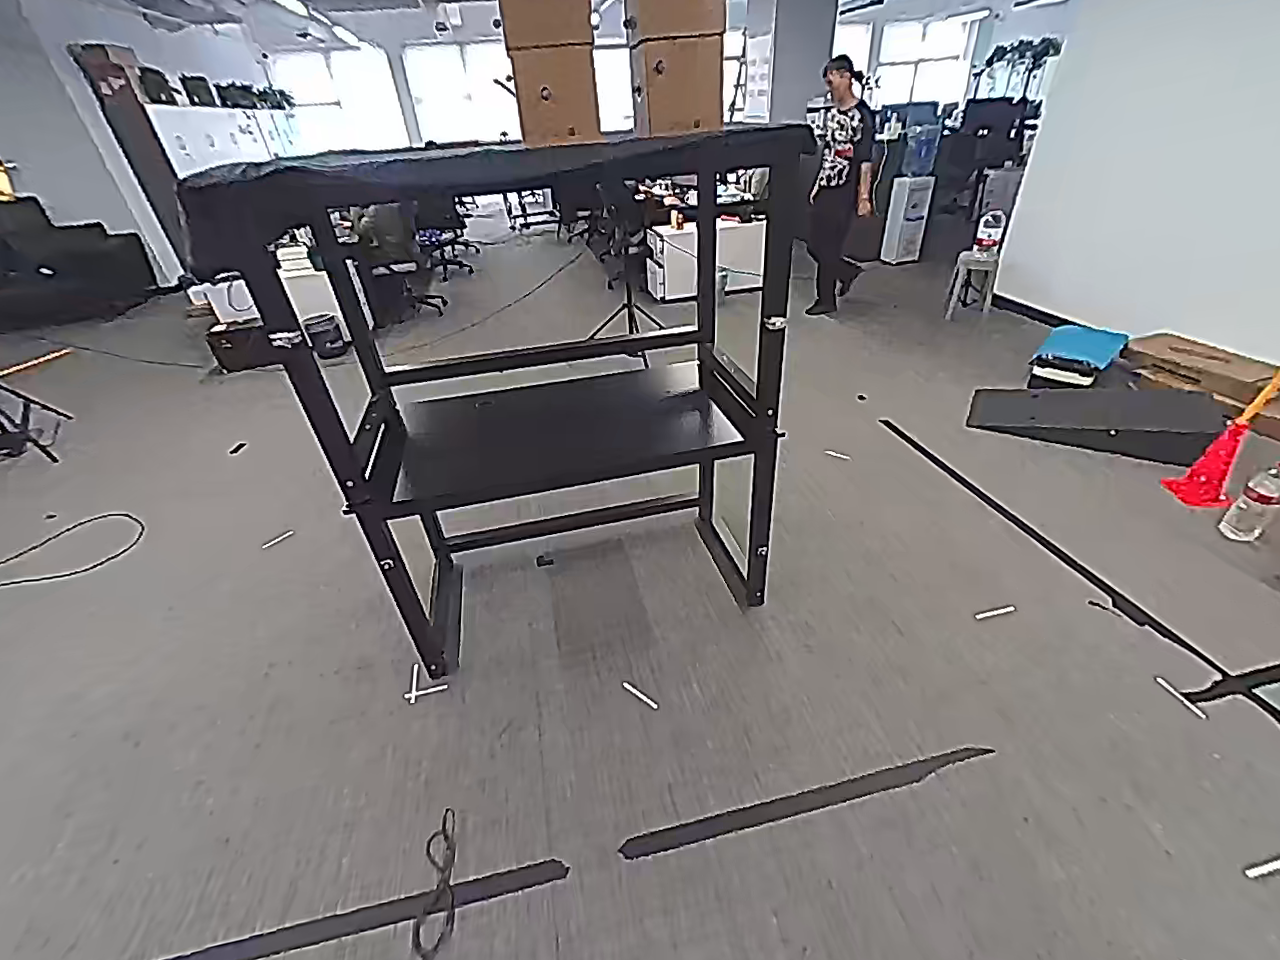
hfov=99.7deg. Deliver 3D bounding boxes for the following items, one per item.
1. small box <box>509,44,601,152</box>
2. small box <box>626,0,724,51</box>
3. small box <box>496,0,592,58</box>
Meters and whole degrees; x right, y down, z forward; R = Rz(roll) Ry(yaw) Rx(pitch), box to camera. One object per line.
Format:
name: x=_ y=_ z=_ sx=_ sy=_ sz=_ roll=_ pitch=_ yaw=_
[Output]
small box: x=-0.179 y=-0.809 z=1.157 sx=0.168 sy=0.176 sz=0.179 roll=-9 pitch=33 yaw=-6
small box: x=0.067 y=-0.980 z=1.085 sx=0.179 sy=0.176 sz=0.168 roll=-11 pitch=32 yaw=-7
small box: x=-0.190 y=-0.940 z=1.059 sx=0.179 sy=0.176 sz=0.168 roll=-10 pitch=33 yaw=-5
